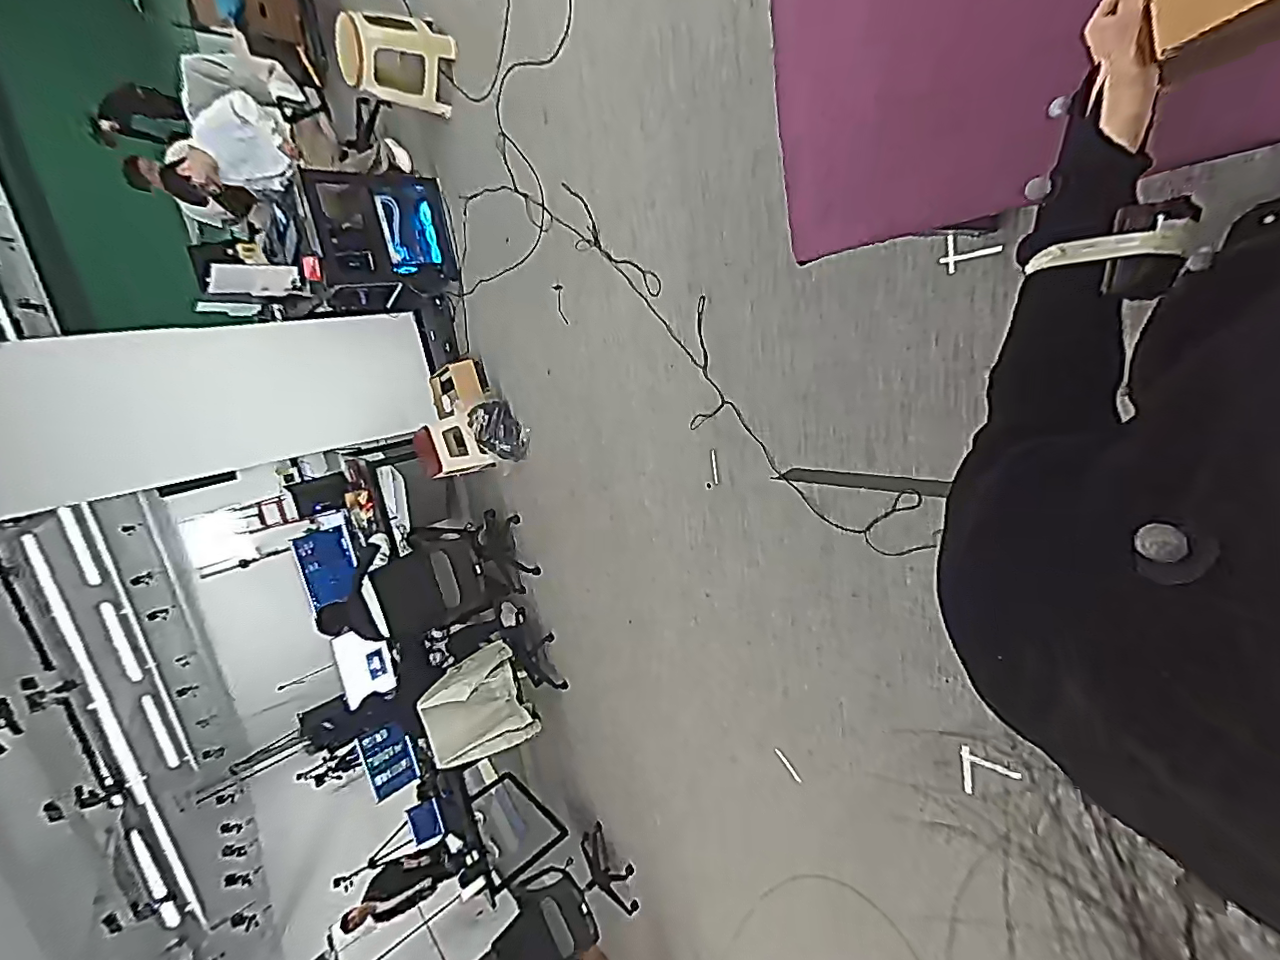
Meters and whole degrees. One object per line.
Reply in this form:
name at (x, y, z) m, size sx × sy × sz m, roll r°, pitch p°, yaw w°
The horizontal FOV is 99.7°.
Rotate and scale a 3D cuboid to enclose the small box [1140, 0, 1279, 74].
small box at (0.391, -0.372, 0.302) m, size 0.179 × 0.176 × 0.168 m, roll -10°, pitch 104°, yaw 49°
